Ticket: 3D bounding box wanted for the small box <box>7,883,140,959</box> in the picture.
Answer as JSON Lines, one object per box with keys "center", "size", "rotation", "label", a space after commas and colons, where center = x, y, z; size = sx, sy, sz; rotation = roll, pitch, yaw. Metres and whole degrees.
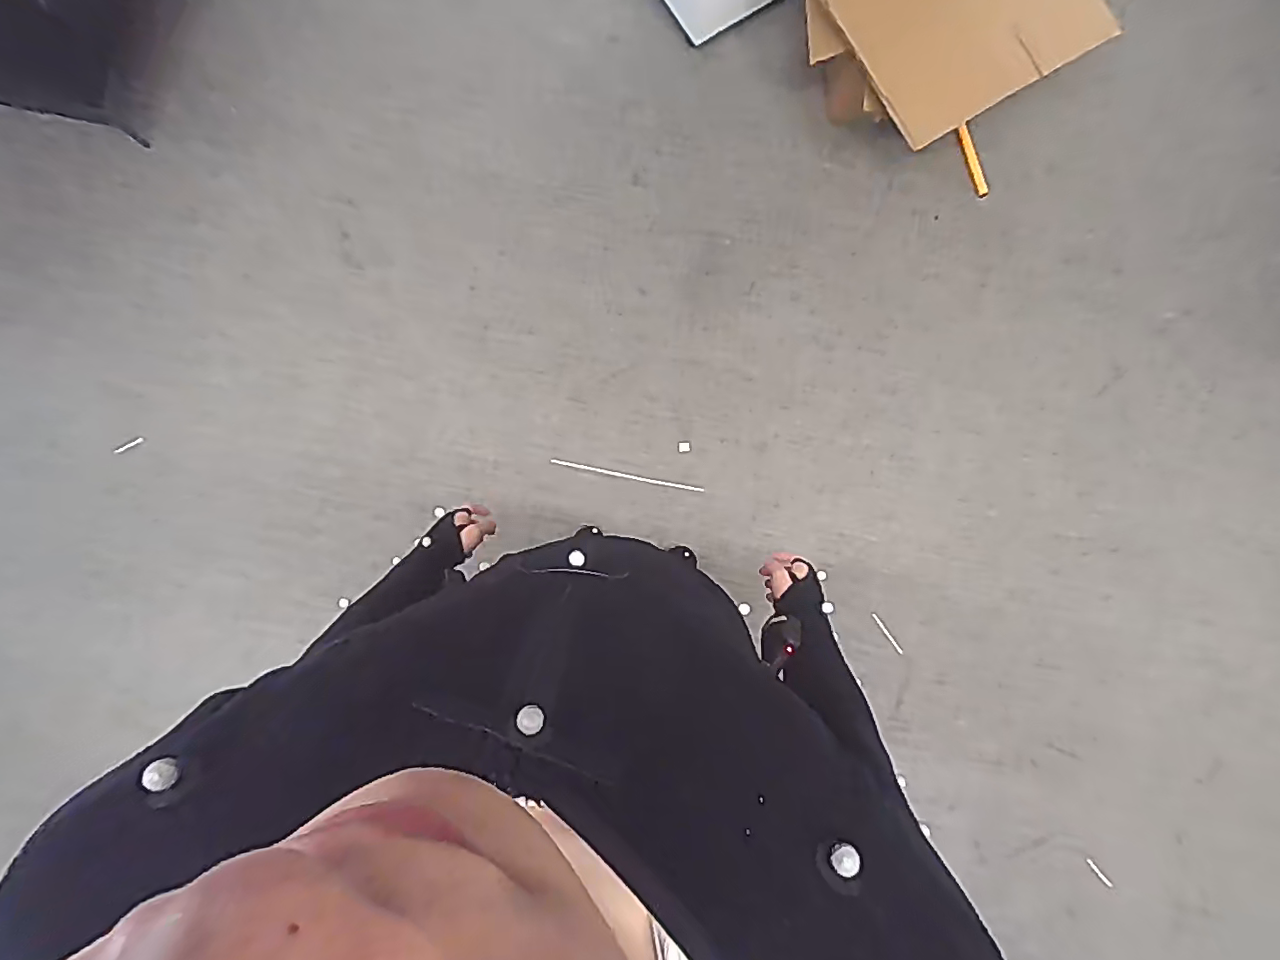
{"center": [-1.497, 1.217, 1.431], "size": [0.179, 0.176, 0.168], "rotation": [17, 85, 2], "label": "small box"}
